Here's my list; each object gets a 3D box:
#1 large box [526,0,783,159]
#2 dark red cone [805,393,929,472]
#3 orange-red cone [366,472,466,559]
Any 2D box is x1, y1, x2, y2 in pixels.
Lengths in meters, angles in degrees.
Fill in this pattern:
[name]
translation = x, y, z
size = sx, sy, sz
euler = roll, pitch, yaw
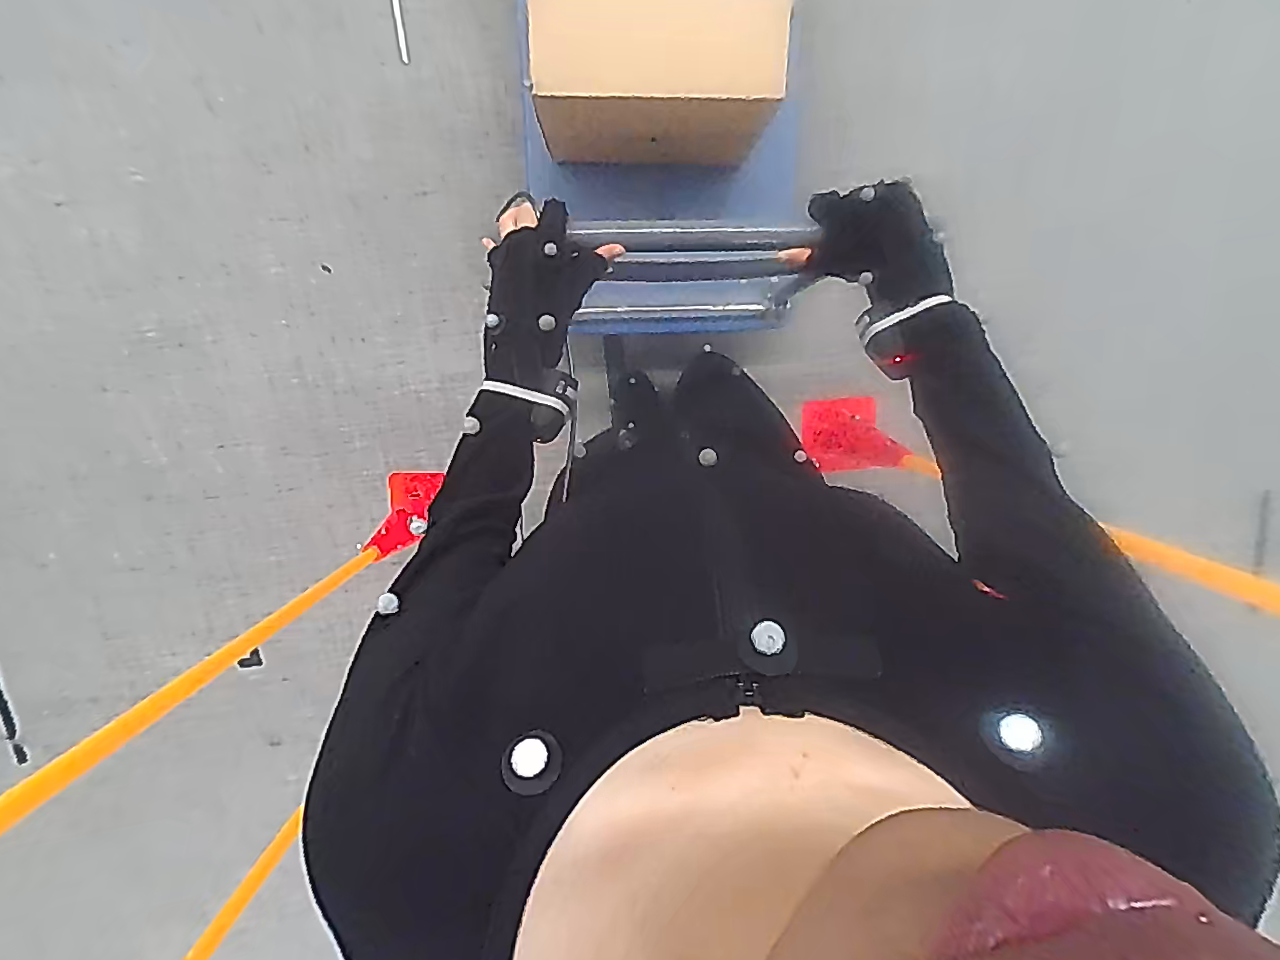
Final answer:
[large box]
translation = 0.020, -0.792, 0.968
size = 0.408, 0.320, 0.320
euler = -1, 103, -2
[dark red cone]
translation = 0.552, -0.089, 1.278
size = 0.201, 0.394, 0.202
euler = -6, 103, -3
[orange-red cone]
translation = -0.565, 0.110, 1.298
size = 0.198, 0.360, 0.199
euler = 1, 101, -4
